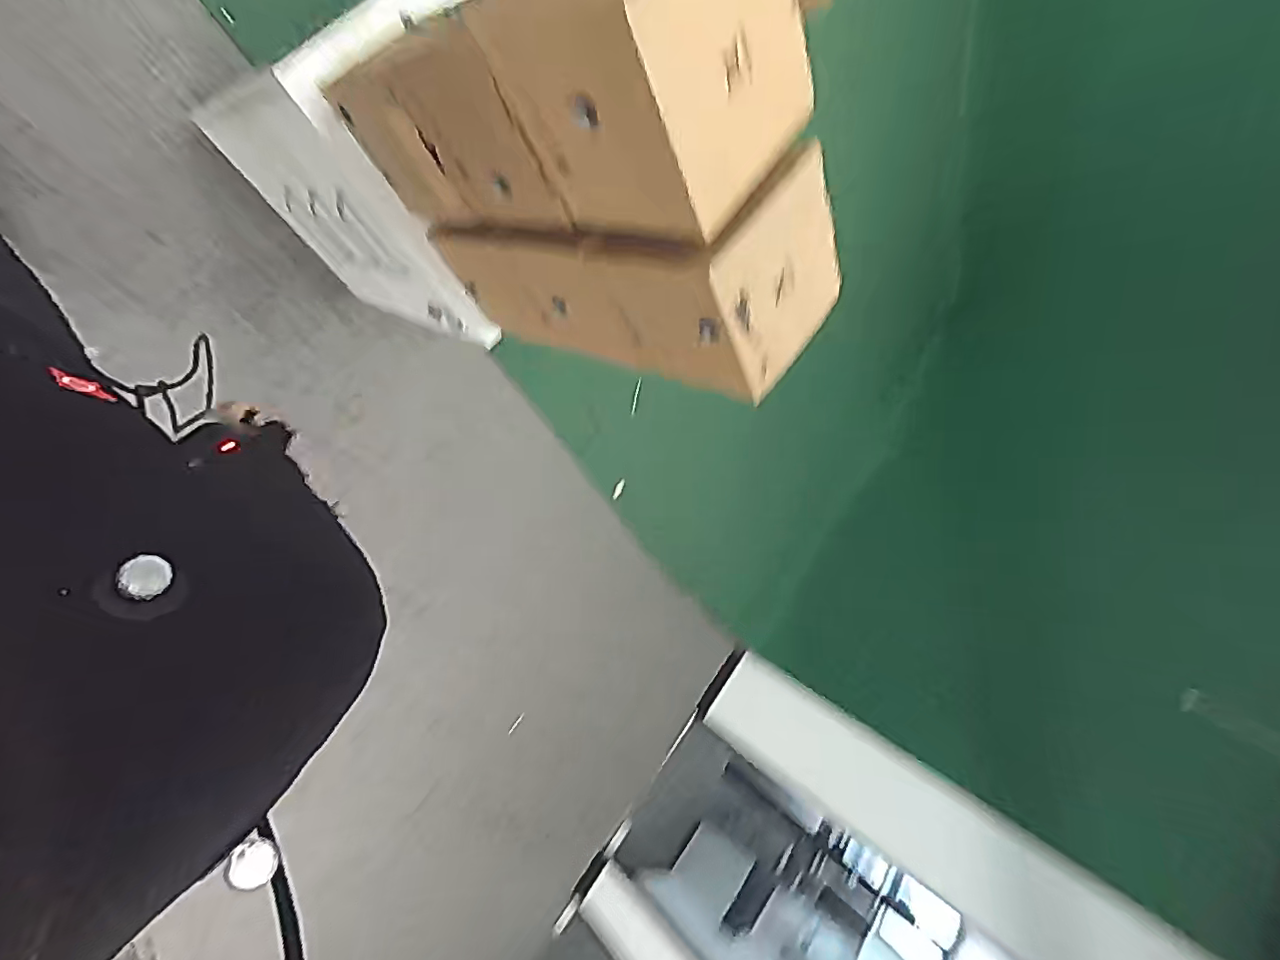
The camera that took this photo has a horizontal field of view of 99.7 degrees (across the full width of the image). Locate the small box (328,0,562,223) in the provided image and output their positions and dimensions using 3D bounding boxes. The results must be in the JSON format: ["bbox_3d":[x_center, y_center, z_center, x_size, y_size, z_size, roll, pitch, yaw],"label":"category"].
[{"bbox_3d":[-0.233,-0.431,0.641,0.179,0.176,0.168,-52,141,-17],"label":"small box"}]

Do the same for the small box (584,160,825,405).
[{"bbox_3d":[0.073,-0.214,0.580,0.179,0.176,0.168,-52,140,-16],"label":"small box"}]
